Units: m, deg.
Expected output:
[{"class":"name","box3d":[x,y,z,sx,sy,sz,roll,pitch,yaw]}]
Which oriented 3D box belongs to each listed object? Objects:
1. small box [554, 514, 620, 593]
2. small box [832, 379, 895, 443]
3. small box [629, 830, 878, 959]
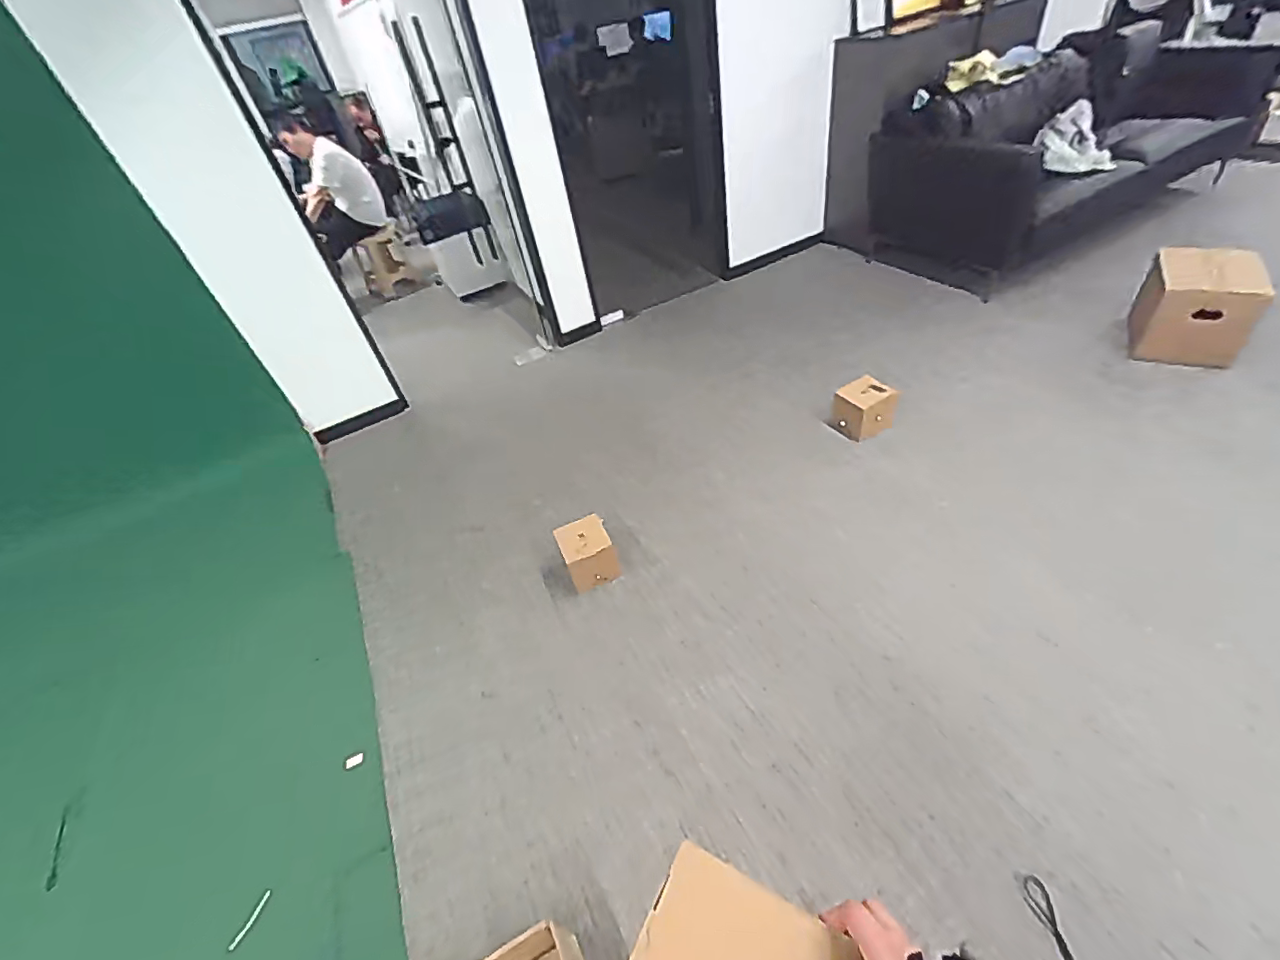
[{"class":"small box","box3d":[-0.183,0.257,1.882,0.168,0.176,0.179,-23,43,-11]},{"class":"small box","box3d":[0.914,-0.283,2.228,0.179,0.176,0.168,-26,43,-14]},{"class":"small box","box3d":[0.086,0.456,0.477,0.179,0.176,0.168,18,50,22]}]
